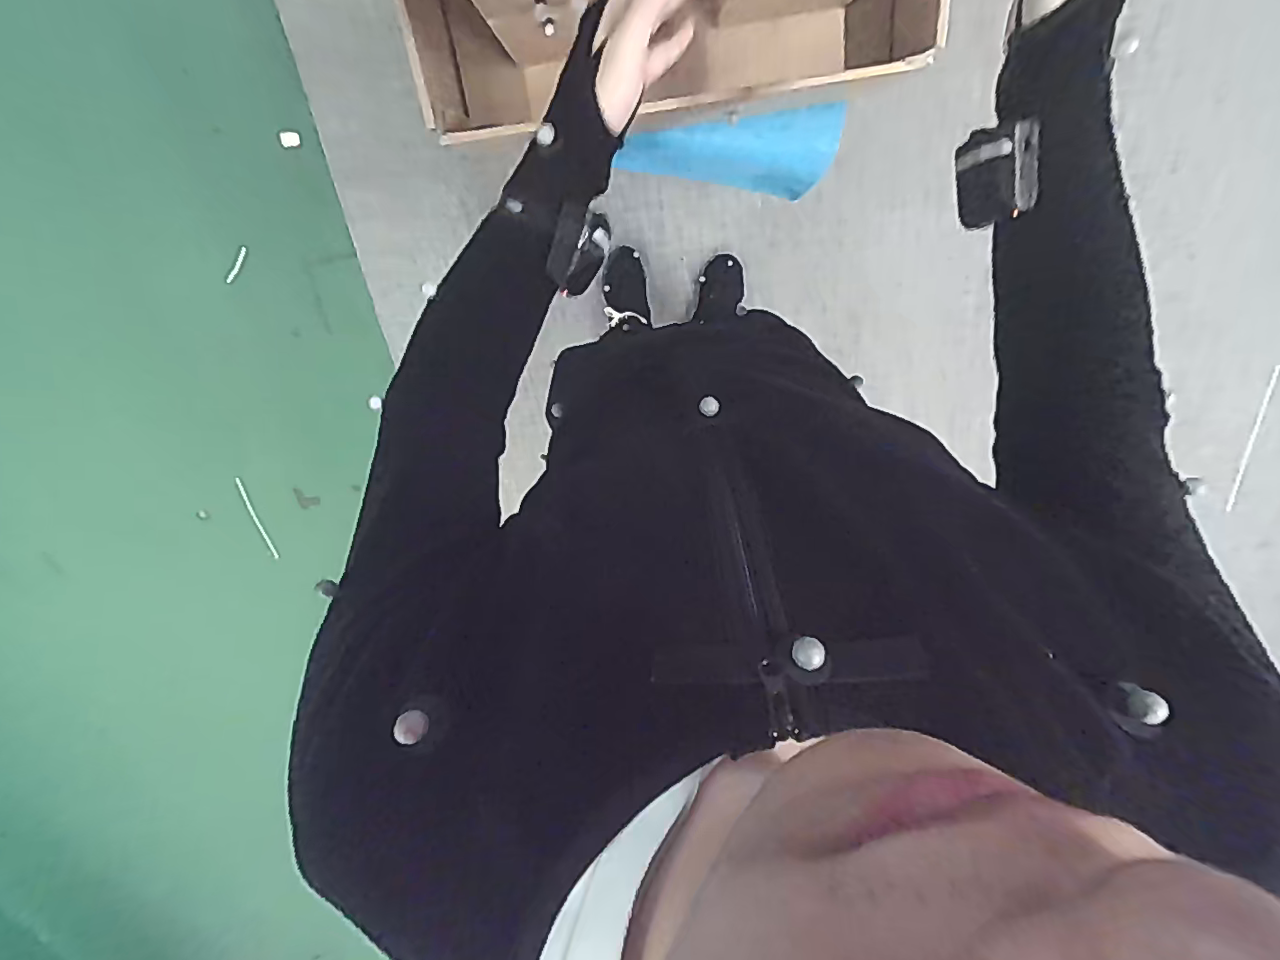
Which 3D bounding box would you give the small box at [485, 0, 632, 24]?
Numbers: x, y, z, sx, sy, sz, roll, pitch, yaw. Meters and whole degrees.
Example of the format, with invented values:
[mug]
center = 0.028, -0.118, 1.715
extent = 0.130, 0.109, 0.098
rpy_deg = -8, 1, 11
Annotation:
[small box]
center = -0.093, -0.554, 0.482
extent = 0.168, 0.176, 0.179
rpy_deg = -6, 114, 4
